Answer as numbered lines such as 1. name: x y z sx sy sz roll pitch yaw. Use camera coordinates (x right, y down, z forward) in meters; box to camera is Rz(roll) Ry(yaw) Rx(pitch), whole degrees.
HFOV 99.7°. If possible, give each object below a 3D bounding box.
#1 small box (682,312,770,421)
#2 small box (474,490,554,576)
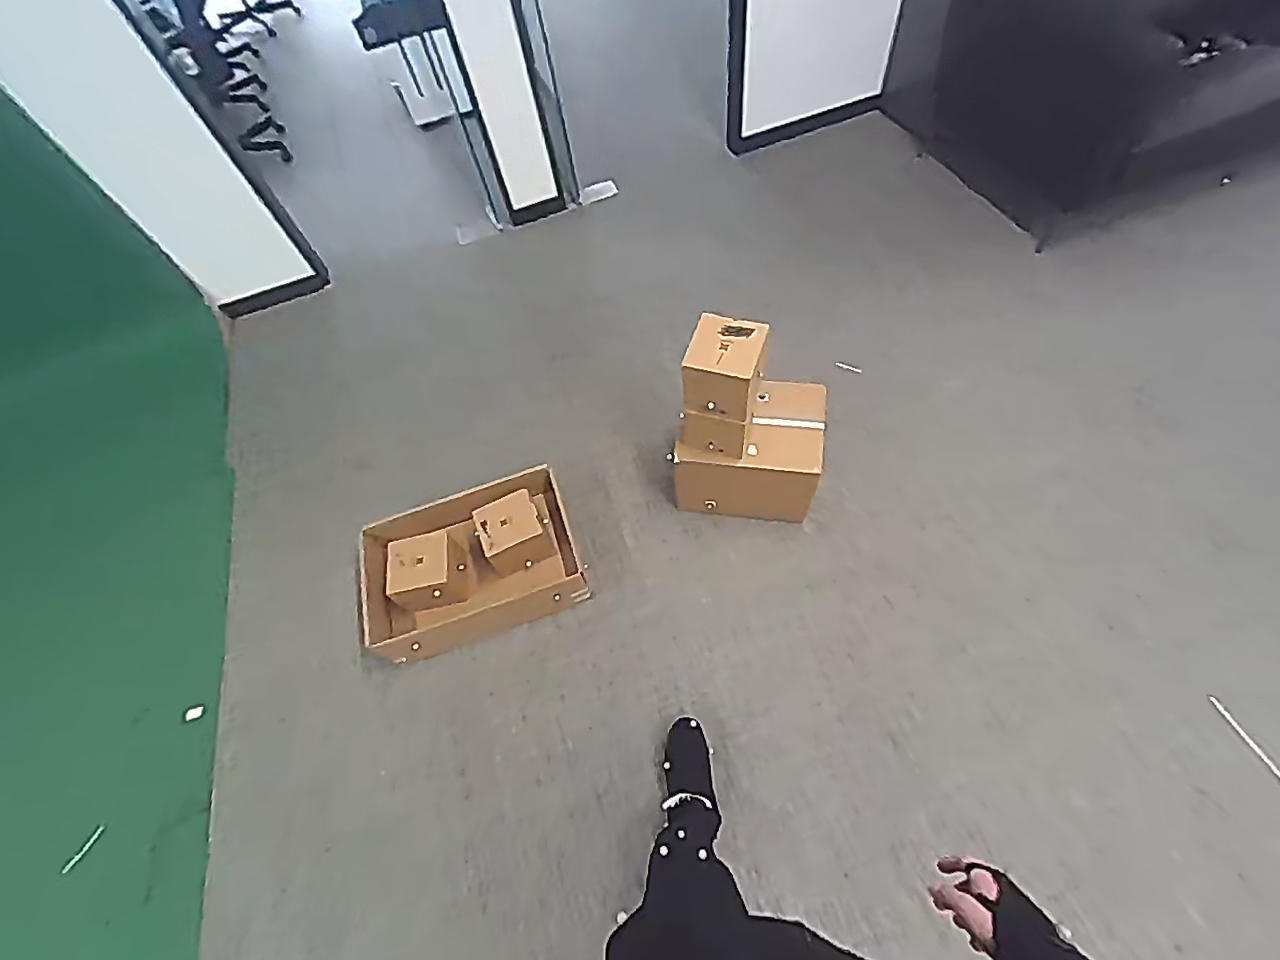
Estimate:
1. small box: 0.209 -0.275 1.316 0.168 0.176 0.179 15 64 16
2. small box: -0.372 0.163 1.632 0.179 0.176 0.168 -24 60 -7
